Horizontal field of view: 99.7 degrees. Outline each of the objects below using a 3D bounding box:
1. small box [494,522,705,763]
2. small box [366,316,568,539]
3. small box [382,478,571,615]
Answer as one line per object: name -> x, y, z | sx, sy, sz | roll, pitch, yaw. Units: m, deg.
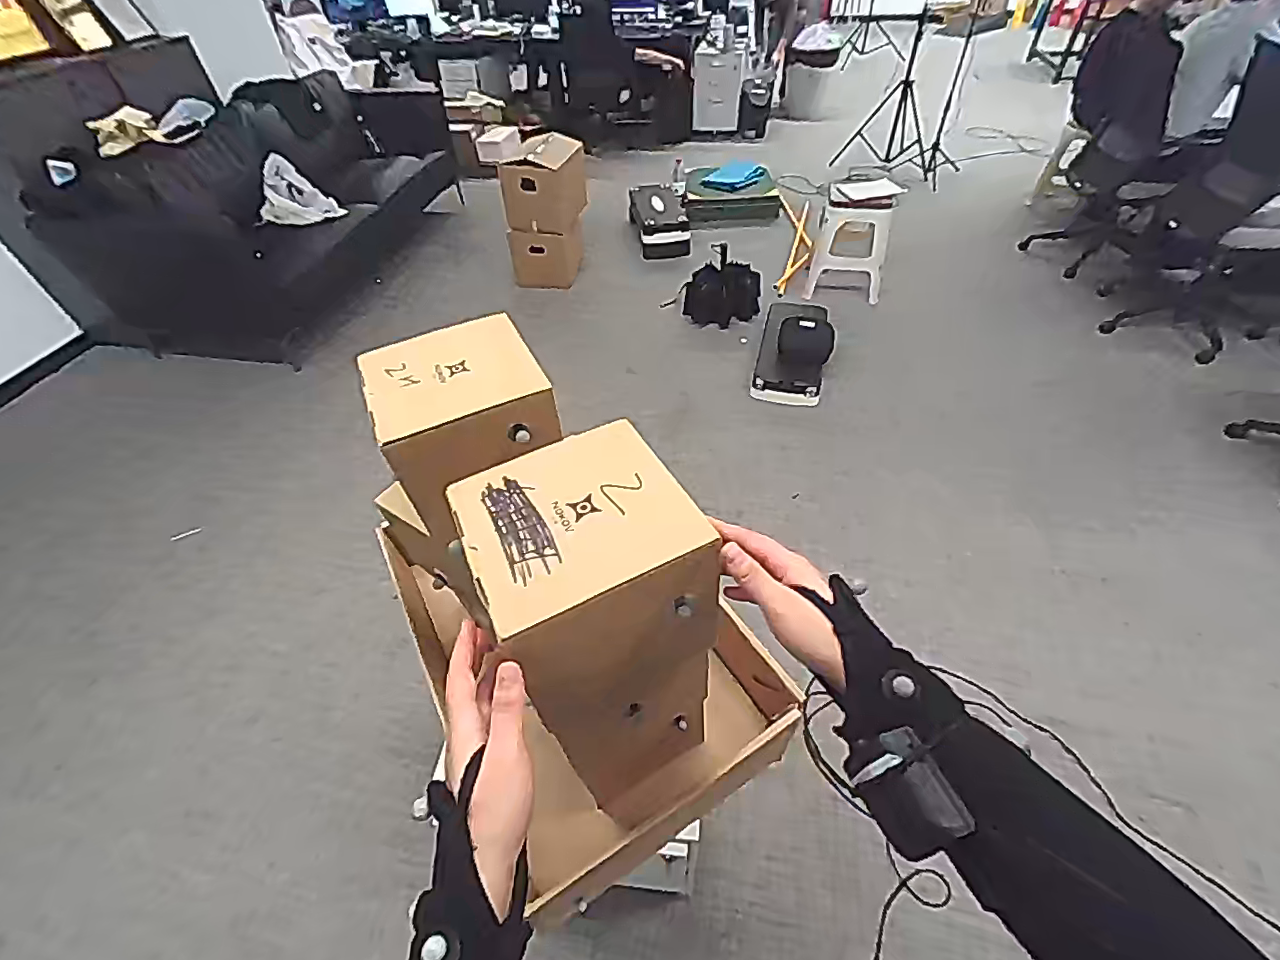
small box -> -0.042, 0.186, 0.624 | 0.179, 0.176, 0.168 | -26, 48, -16
small box -> -0.195, -0.062, 0.646 | 0.179, 0.176, 0.168 | -23, 50, -14
small box -> -0.214, 0.054, 0.765 | 0.168, 0.176, 0.179 | 24, 56, 24
